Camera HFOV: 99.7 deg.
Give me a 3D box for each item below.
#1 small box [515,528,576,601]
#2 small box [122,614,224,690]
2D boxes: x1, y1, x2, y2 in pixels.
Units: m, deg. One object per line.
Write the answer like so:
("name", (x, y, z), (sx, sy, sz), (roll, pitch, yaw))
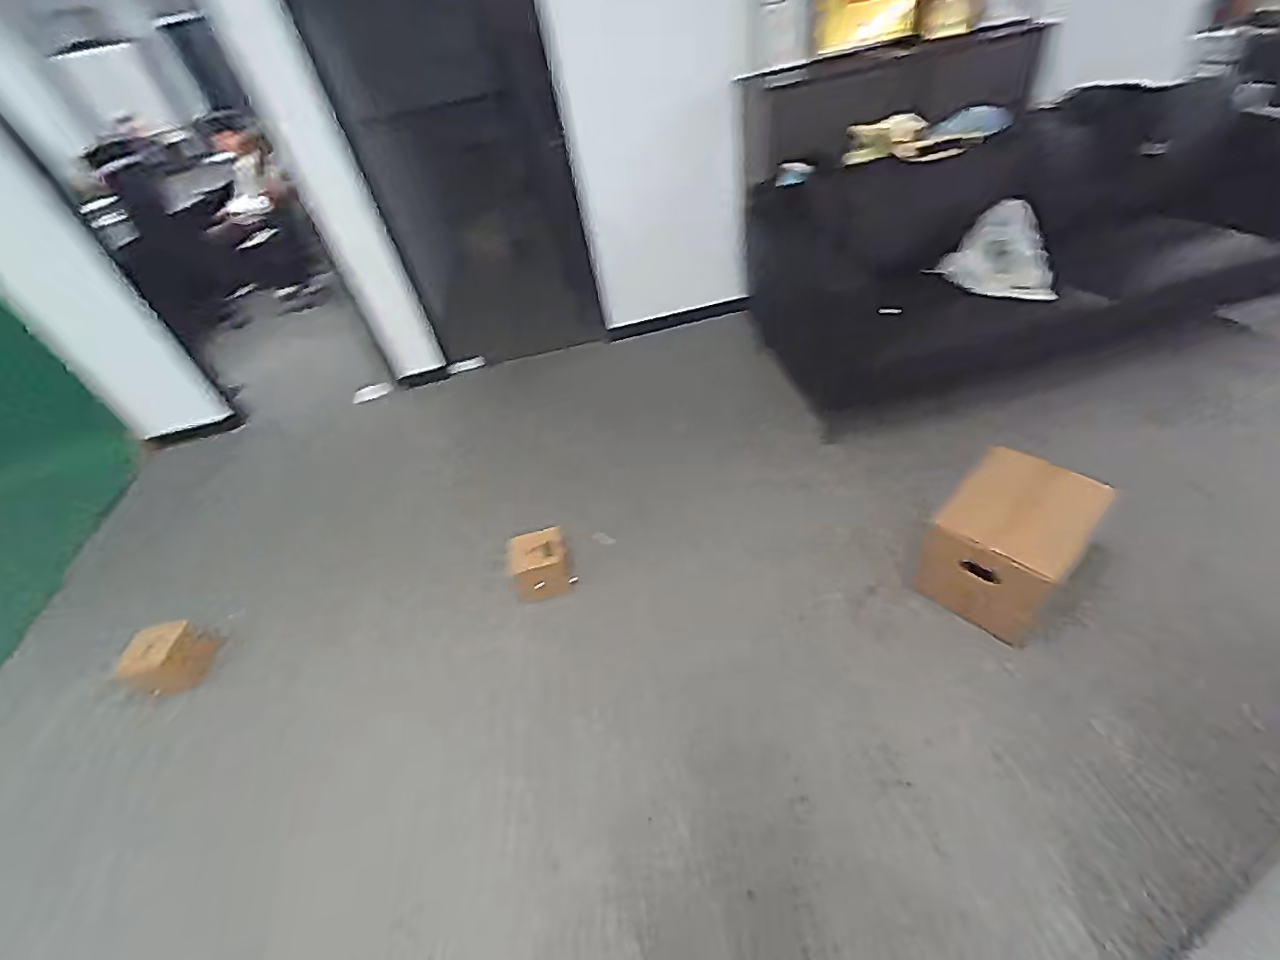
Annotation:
("small box", (-0.325, 0.295, 1.879), (0.179, 0.176, 0.168), (-13, 42, -1))
("small box", (-1.562, 0.581, 1.827), (0.168, 0.176, 0.179), (-9, 42, 3))
